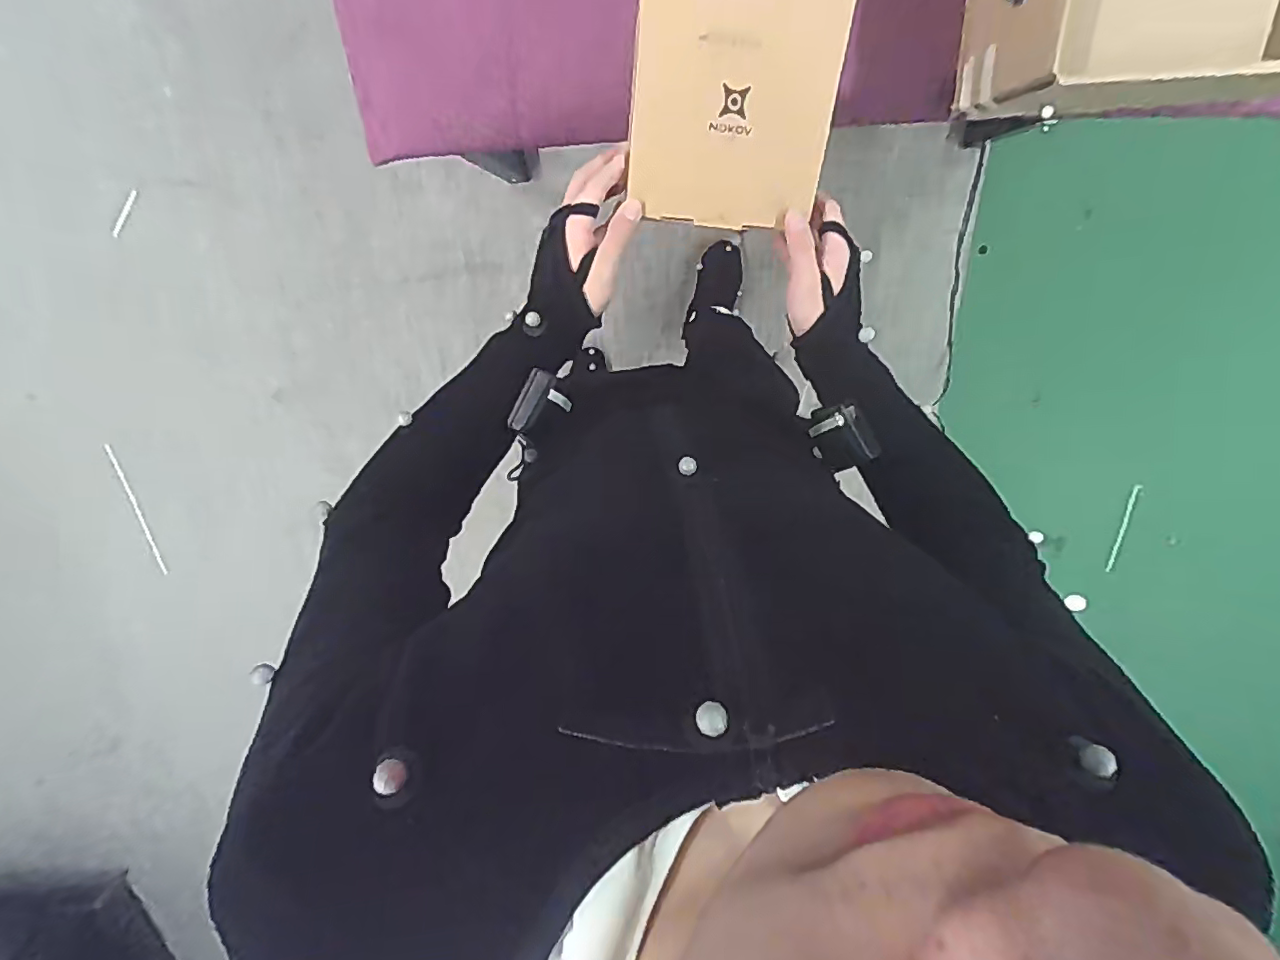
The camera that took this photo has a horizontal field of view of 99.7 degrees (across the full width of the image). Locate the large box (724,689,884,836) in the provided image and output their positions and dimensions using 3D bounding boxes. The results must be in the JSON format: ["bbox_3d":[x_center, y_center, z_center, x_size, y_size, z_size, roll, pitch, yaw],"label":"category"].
[{"bbox_3d":[0.565,1.035,1.931,0.408,0.320,0.320,-33,109,12],"label":"large box"}]

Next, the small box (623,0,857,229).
[{"bbox_3d":[0.074,-0.341,0.507,0.168,0.176,0.179,4,115,-5],"label":"small box"}]

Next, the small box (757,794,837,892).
[{"bbox_3d":[0.486,1.141,1.707,0.179,0.176,0.168,-33,107,13],"label":"small box"}]
